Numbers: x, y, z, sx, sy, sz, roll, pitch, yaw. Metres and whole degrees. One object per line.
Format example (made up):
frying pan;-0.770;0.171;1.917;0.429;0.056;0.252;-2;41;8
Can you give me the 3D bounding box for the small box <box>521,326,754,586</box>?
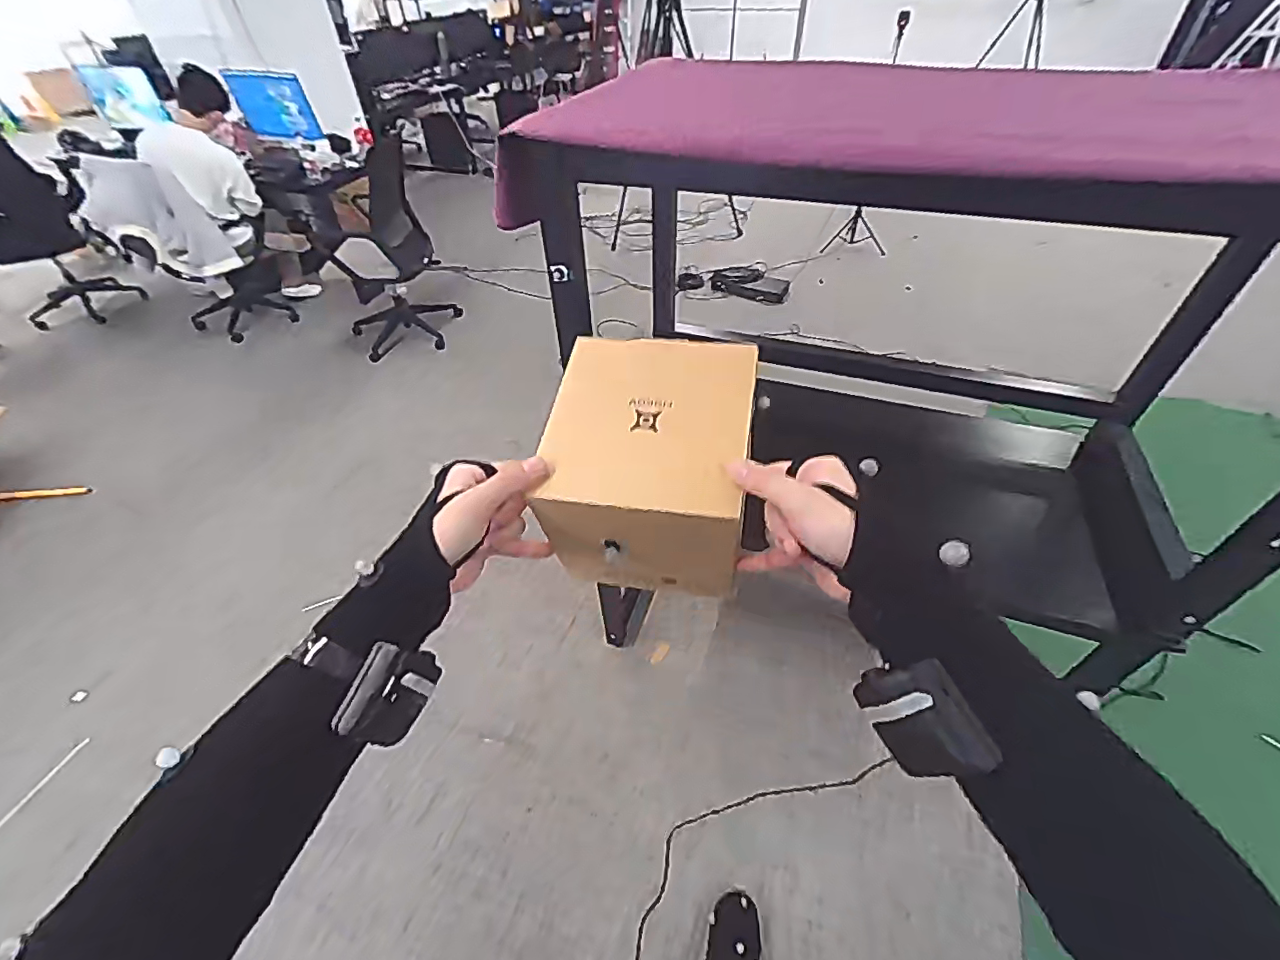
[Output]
small box;0.014;-0.017;0.498;0.168;0.176;0.179;5;58;11
